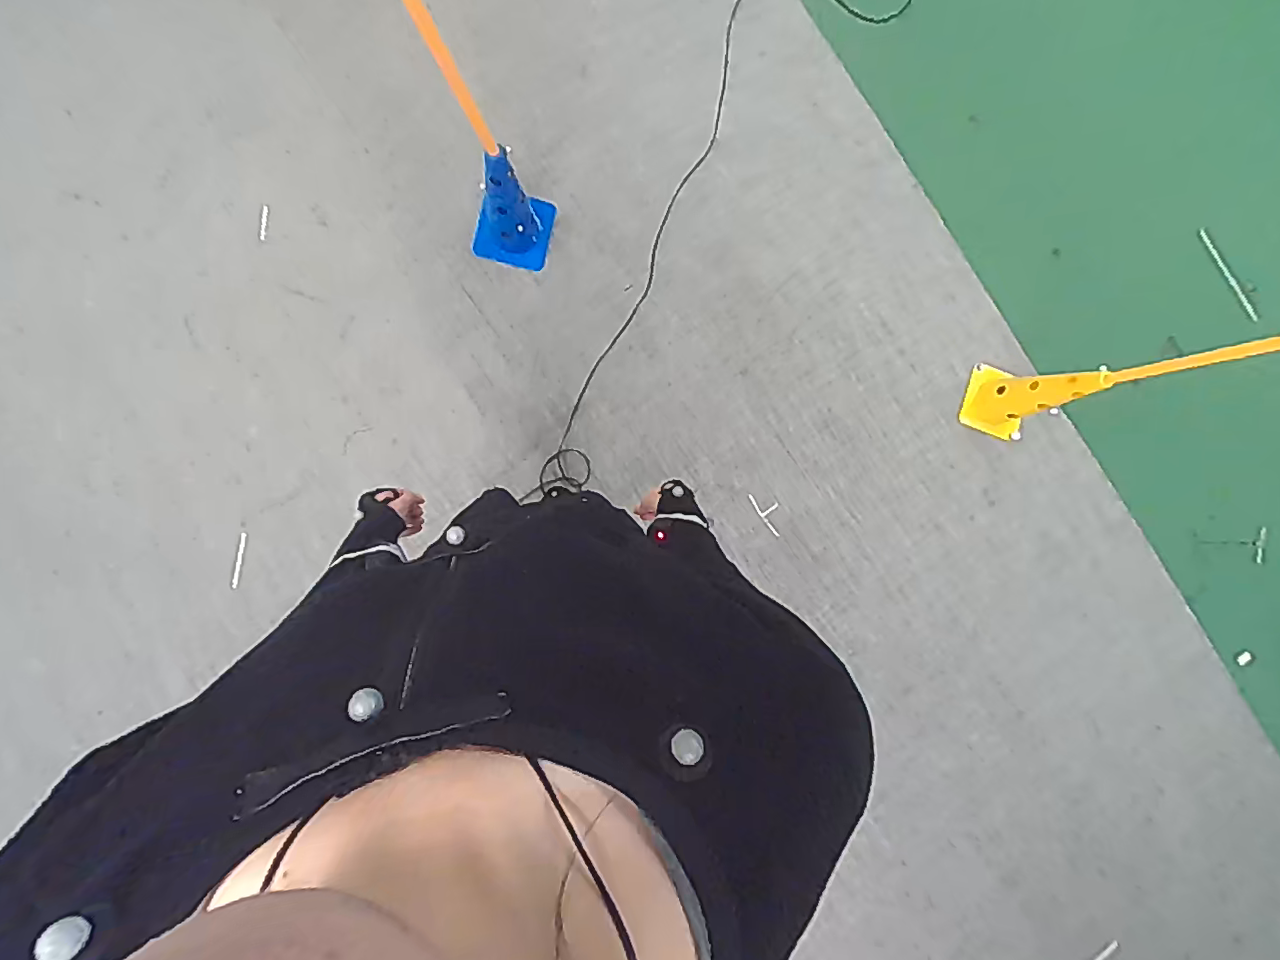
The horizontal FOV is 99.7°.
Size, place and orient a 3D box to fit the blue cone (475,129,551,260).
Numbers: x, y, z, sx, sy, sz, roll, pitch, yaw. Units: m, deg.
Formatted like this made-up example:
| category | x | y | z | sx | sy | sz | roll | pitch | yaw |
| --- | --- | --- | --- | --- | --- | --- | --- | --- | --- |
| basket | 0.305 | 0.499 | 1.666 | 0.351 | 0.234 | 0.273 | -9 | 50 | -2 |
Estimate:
| category | x | y | z | sx | sy | sz | roll | pitch | yaw |
| --- | --- | --- | --- | --- | --- | --- | --- | --- | --- |
| blue cone | -0.332 | -0.701 | 1.306 | 0.193 | 0.380 | 0.192 | 11 | 89 | -5 |
